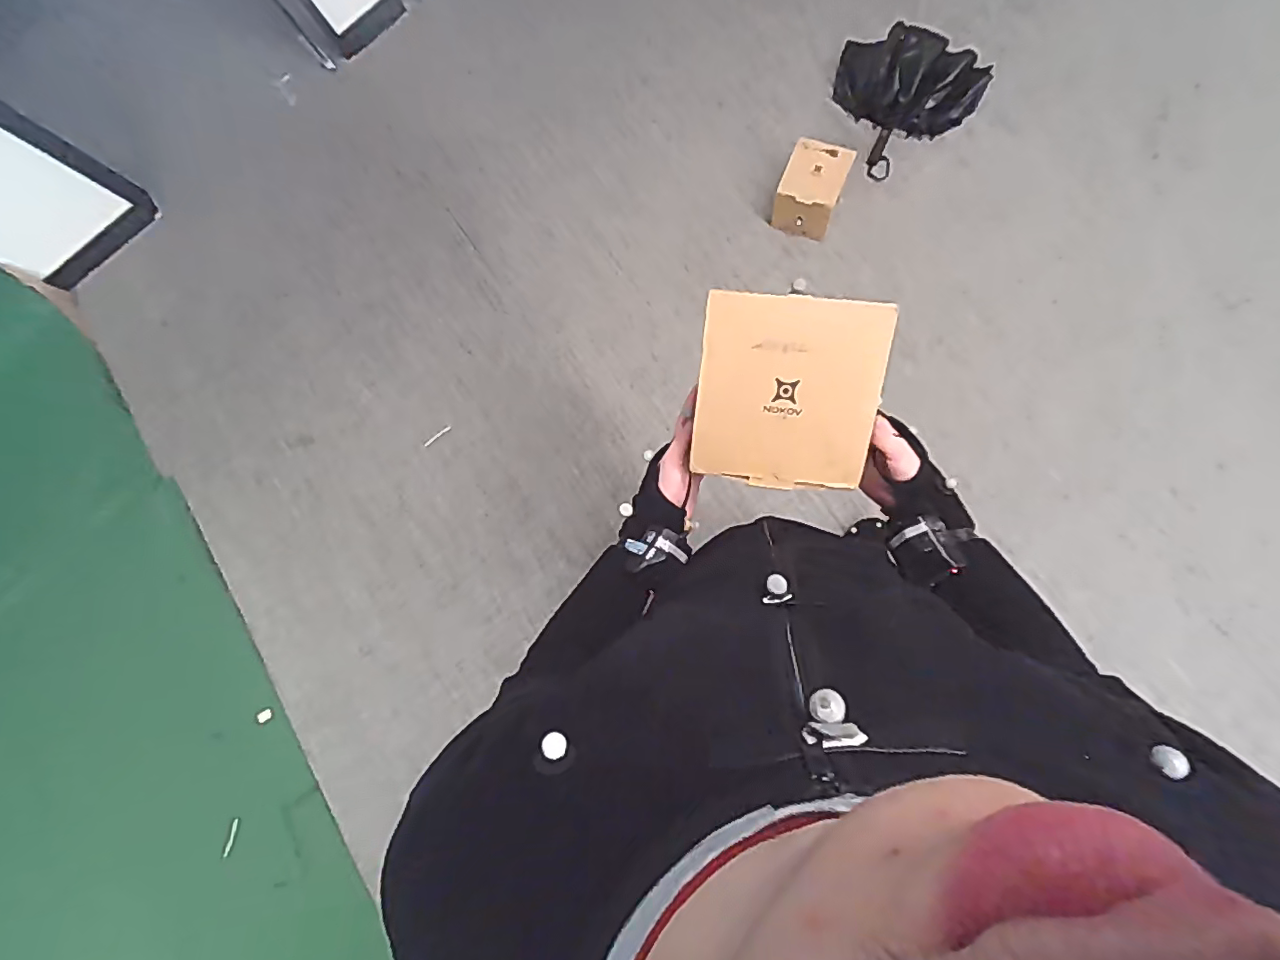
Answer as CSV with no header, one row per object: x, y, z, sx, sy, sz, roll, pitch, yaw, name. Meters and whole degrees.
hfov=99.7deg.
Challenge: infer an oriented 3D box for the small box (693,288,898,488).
0.150,-0.108,0.580,0.168,0.176,0.179,6,110,5,small box
